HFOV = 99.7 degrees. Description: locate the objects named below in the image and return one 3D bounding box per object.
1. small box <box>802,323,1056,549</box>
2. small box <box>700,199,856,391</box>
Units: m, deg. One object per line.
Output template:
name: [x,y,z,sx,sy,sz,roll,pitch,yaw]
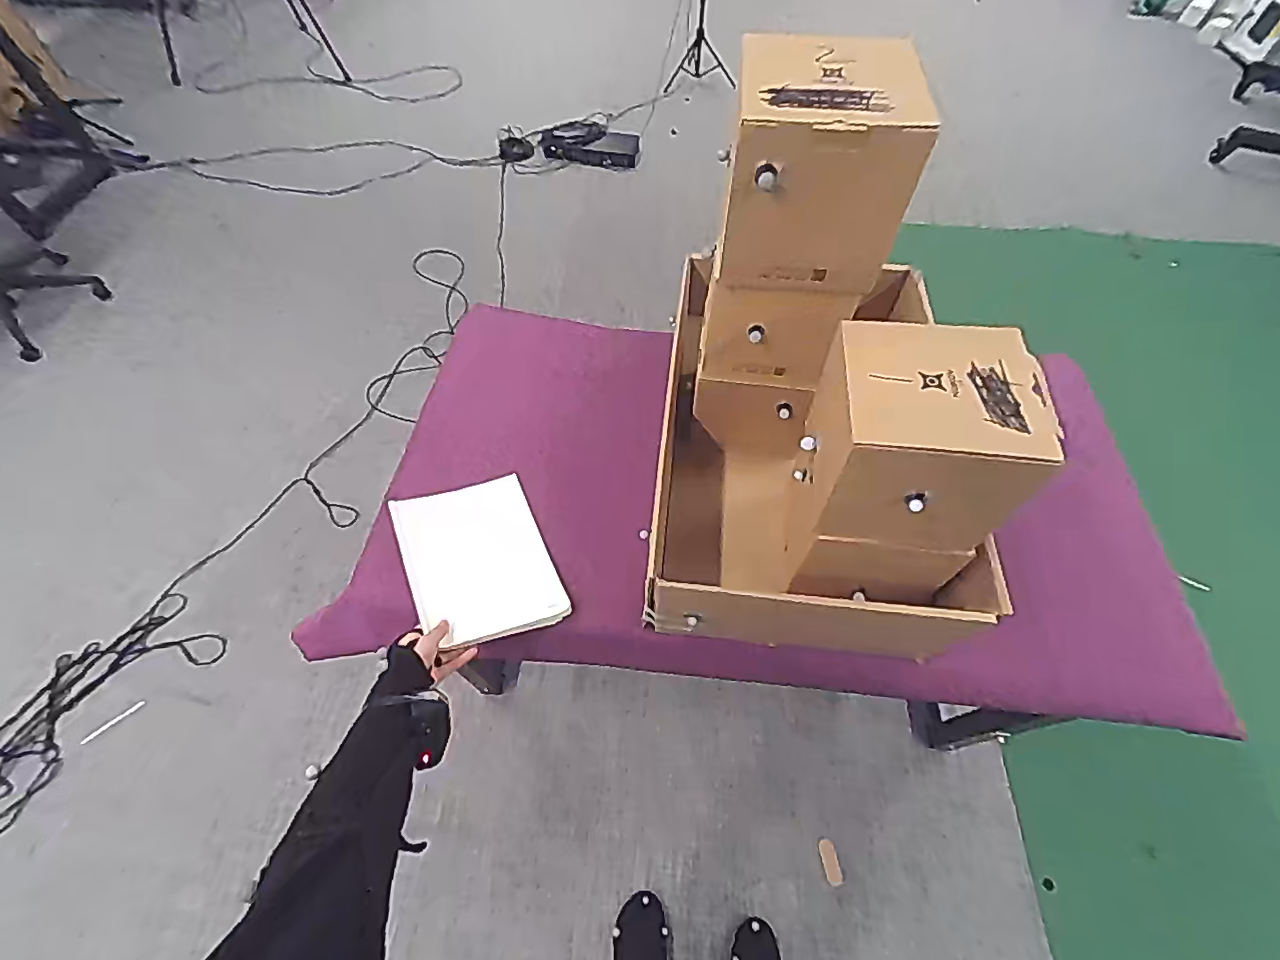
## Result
small box: [0.279,-0.041,0.571,0.179,0.176,0.168,5,55,7]
small box: [0.172,-0.238,0.712,0.168,0.176,0.179,7,58,5]
